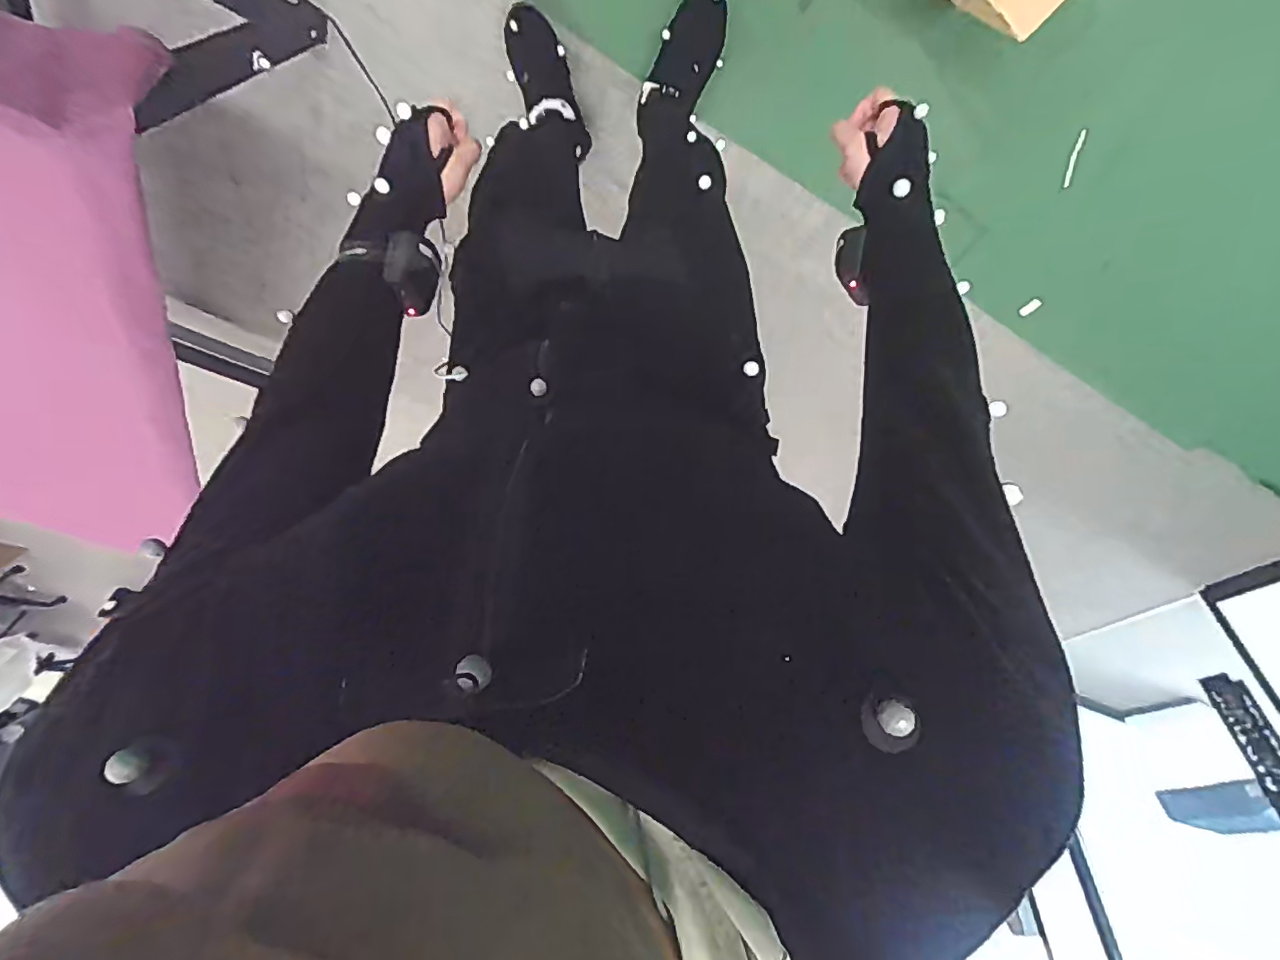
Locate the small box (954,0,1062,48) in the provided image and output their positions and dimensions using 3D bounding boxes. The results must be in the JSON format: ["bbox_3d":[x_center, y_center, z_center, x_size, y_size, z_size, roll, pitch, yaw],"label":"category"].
[{"bbox_3d":[0.558,-0.796,0.790,0.168,0.176,0.179,28,135,-23],"label":"small box"}]
